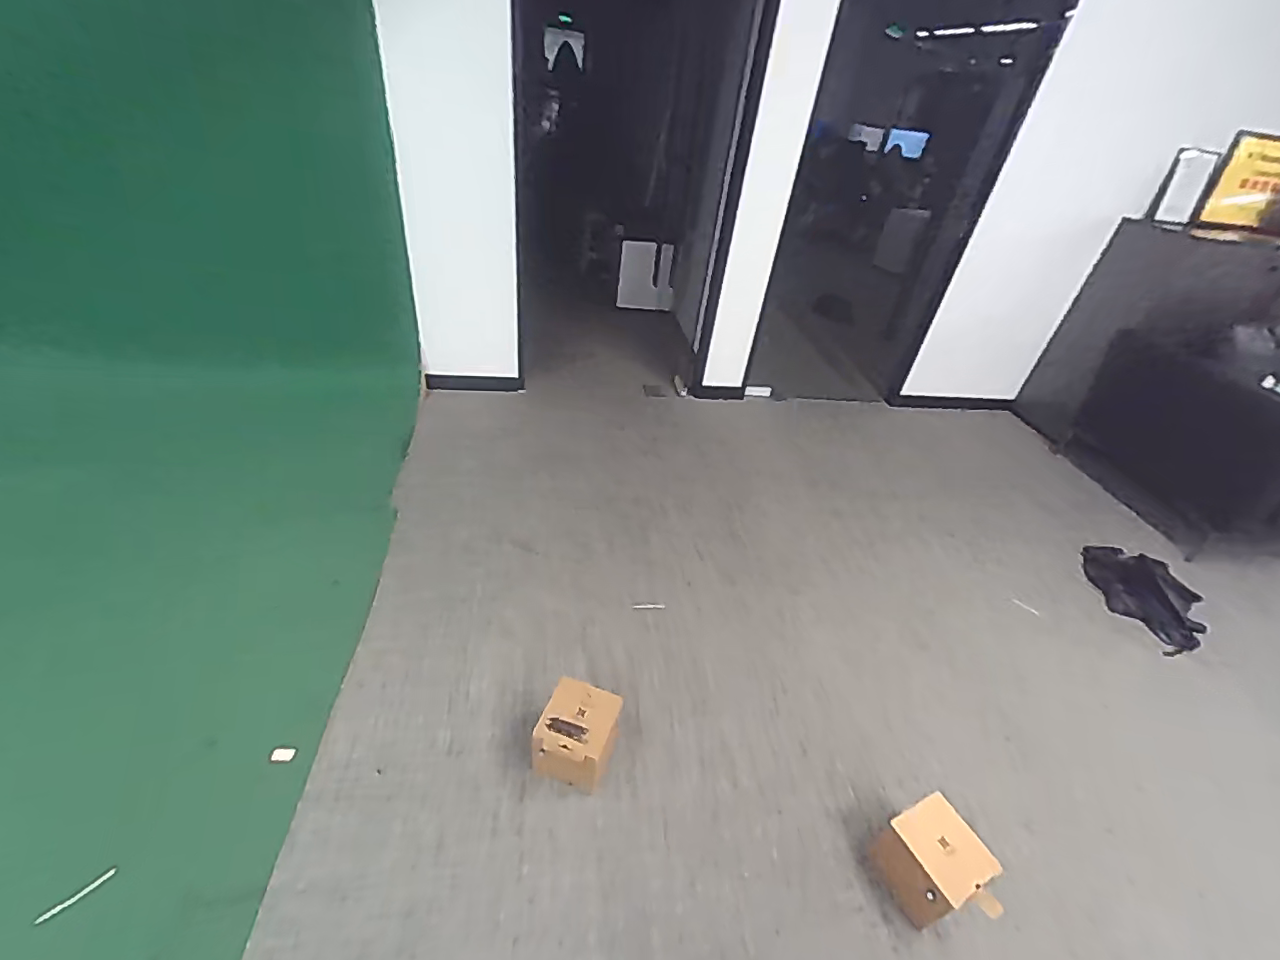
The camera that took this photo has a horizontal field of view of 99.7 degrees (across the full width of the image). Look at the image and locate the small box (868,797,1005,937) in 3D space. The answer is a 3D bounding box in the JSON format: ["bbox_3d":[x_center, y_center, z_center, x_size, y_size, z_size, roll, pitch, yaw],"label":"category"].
[{"bbox_3d":[0.646,0.858,1.202,0.168,0.176,0.179,-12,42,-26],"label":"small box"}]
